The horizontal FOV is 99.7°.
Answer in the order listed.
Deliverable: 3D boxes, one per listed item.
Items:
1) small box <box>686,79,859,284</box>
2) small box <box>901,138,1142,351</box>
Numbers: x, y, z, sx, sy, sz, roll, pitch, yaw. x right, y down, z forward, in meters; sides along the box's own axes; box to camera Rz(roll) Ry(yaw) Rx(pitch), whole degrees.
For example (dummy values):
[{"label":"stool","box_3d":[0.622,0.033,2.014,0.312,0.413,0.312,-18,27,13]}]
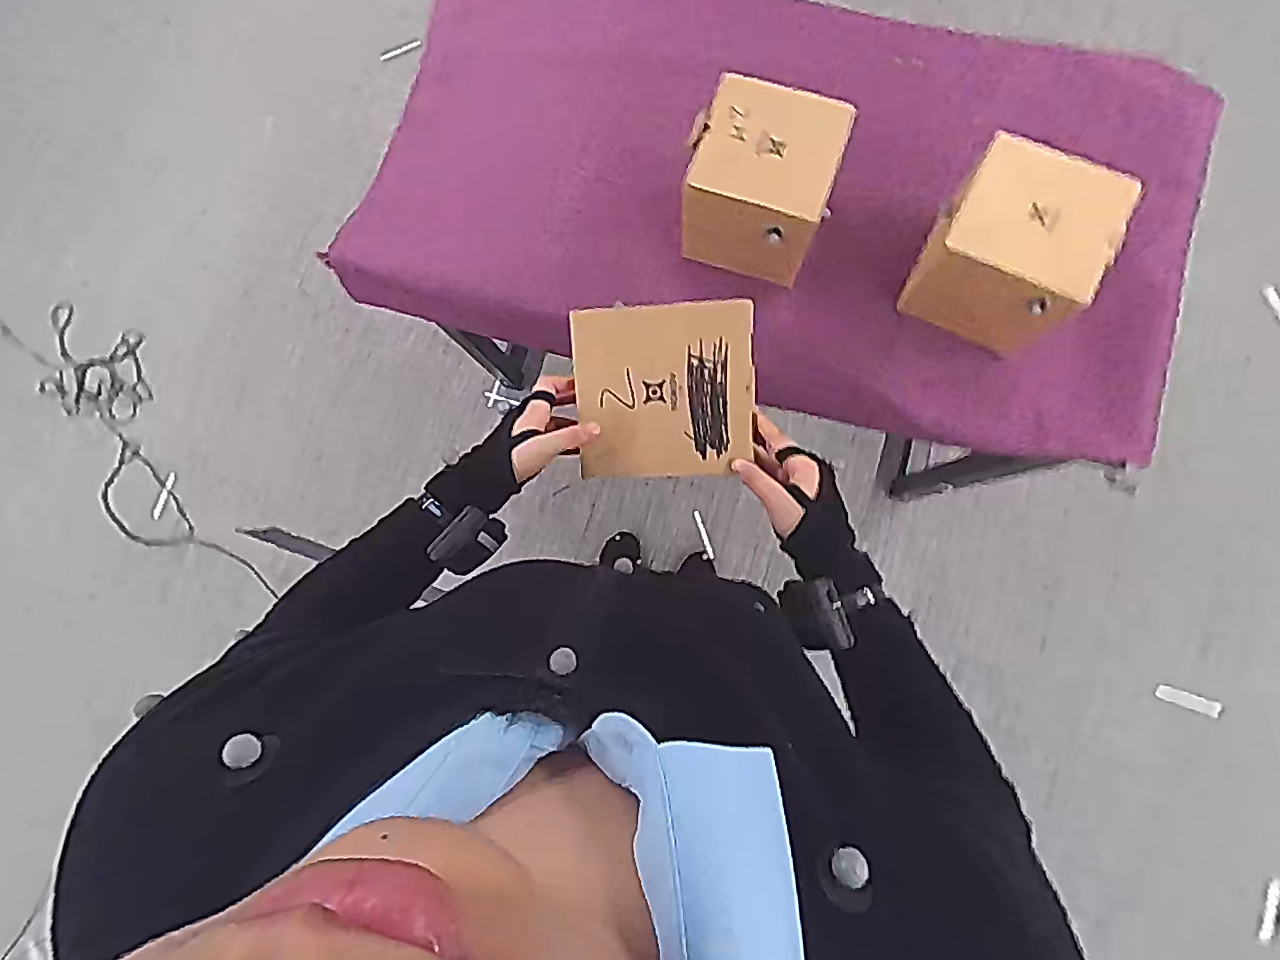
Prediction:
[{"label":"small box","box_3d":[0.172,-0.402,0.756,0.179,0.176,0.168,19,83,7]},{"label":"small box","box_3d":[0.483,-0.296,0.717,0.179,0.176,0.168,27,85,8]}]
